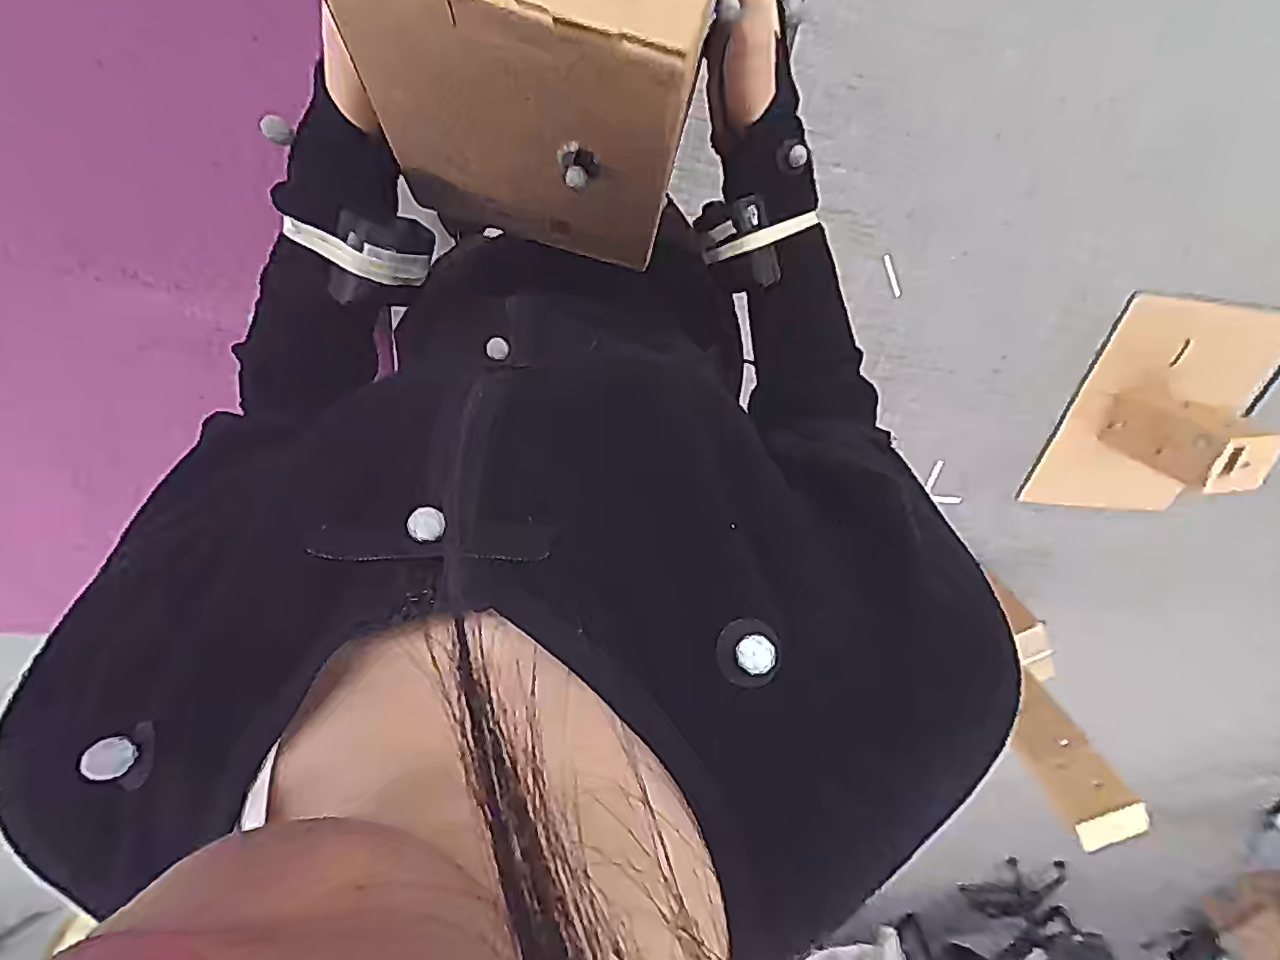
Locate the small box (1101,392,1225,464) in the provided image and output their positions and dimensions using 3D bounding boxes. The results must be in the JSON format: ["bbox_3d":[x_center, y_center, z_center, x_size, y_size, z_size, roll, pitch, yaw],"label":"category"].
[{"bbox_3d":[1.567,-0.162,1.633,0.179,0.176,0.168,-3,119,-4],"label":"small box"}]

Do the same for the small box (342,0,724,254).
[{"bbox_3d":[-0.042,-0.268,0.314,0.168,0.176,0.179,16,77,-3],"label":"small box"}]

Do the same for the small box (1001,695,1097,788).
[{"bbox_3d":[1.222,0.780,1.616,0.168,0.176,0.179,-30,120,11],"label":"small box"}]

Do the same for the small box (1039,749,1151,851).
[{"bbox_3d":[1.233,0.864,1.476,0.168,0.176,0.179,-30,119,11],"label":"small box"}]

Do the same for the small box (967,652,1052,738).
[{"bbox_3d":[1.205,0.694,1.754,0.168,0.176,0.179,-30,119,11],"label":"small box"}]
